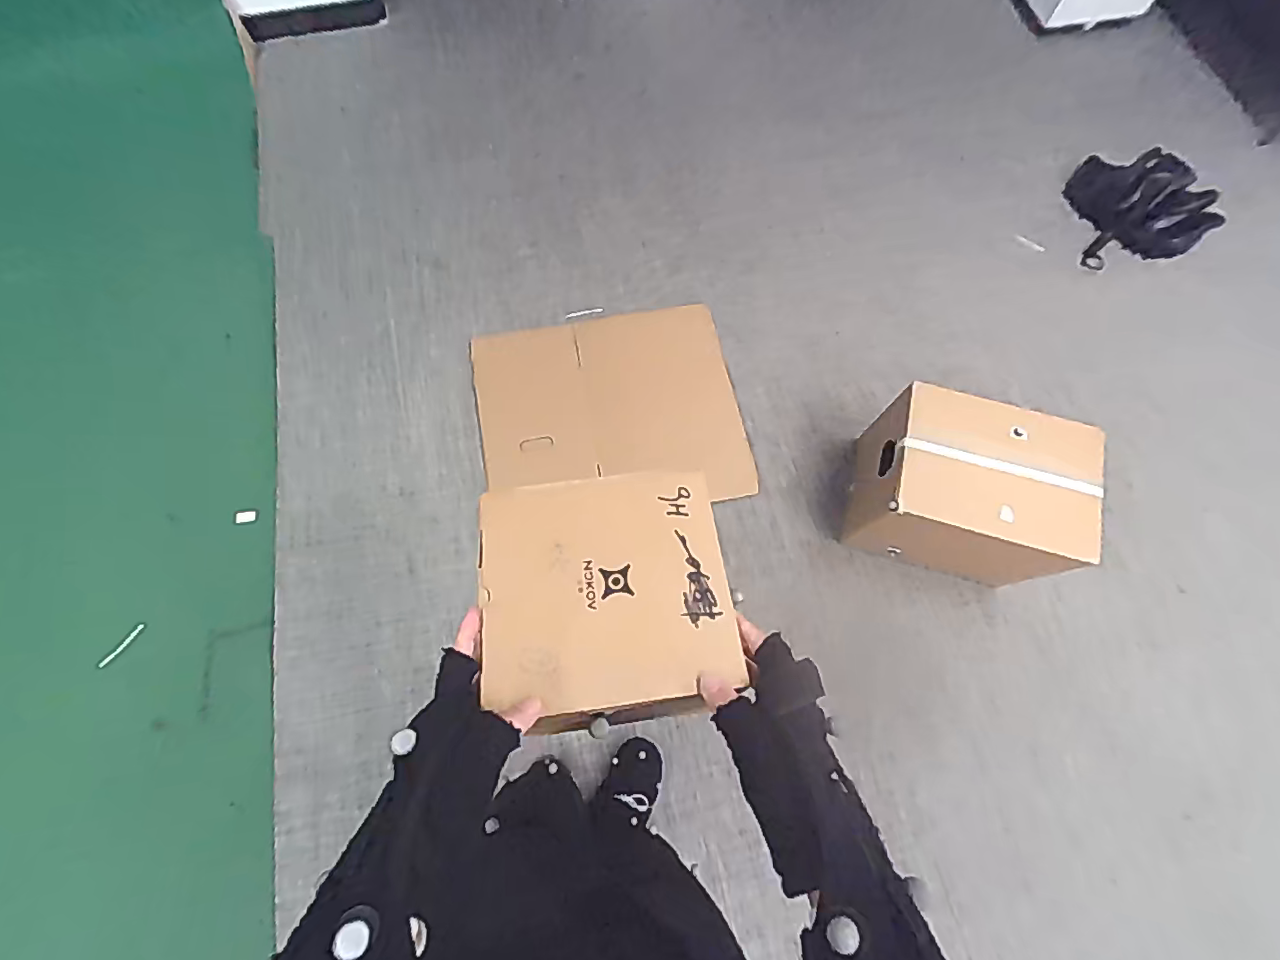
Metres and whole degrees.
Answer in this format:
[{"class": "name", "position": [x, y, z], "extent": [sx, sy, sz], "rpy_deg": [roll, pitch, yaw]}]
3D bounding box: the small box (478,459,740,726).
[{"class": "small box", "position": [-0.030, 0.105, 0.466], "extent": [0.179, 0.176, 0.168], "rpy_deg": [-9, 61, -6]}]
